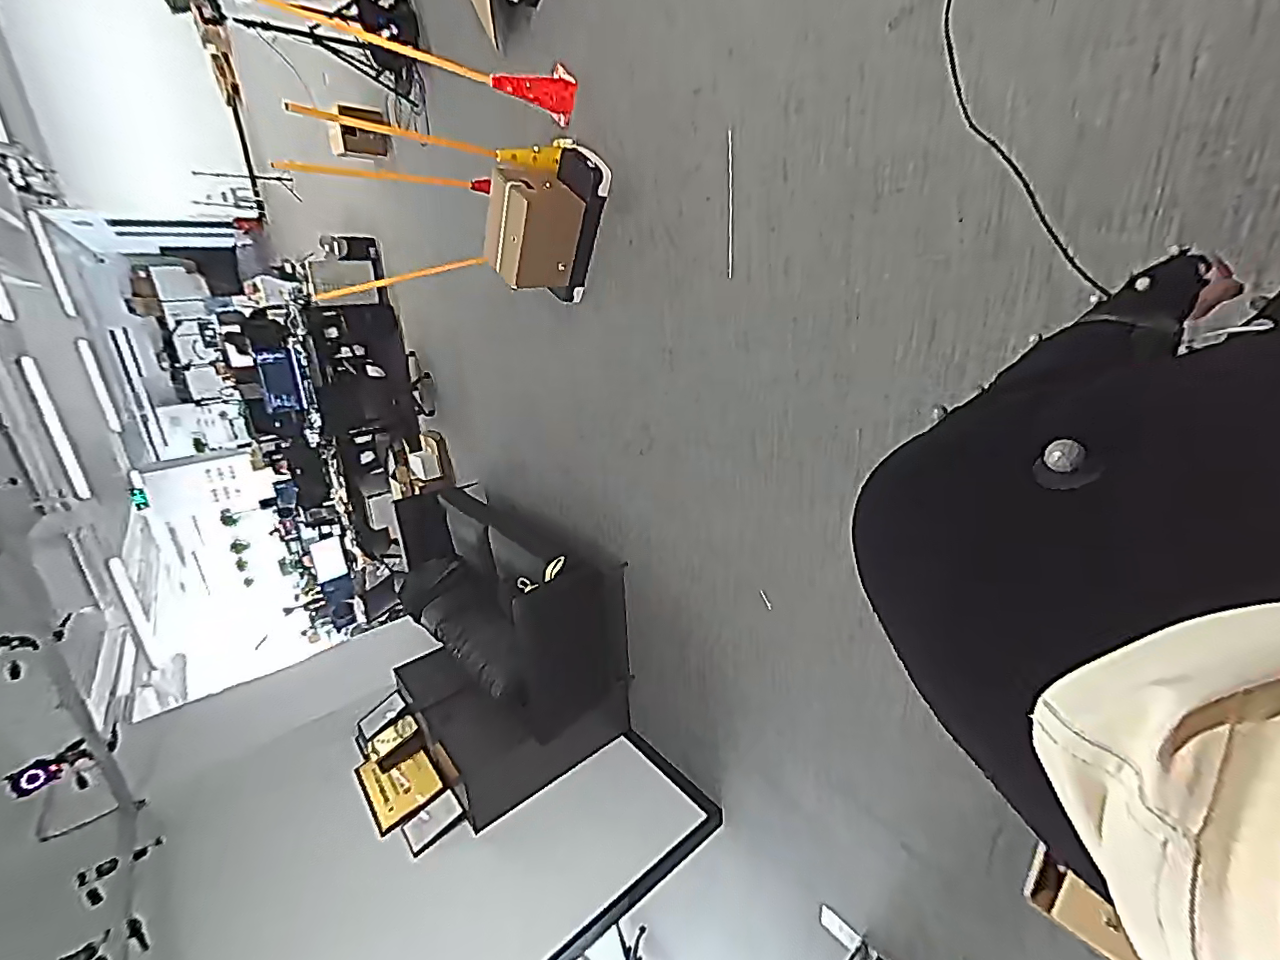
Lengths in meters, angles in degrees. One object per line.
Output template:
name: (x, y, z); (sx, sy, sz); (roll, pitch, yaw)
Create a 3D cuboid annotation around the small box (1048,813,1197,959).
small box: (0.946, 0.813, 1.061); (0.168, 0.176, 0.179); (24, 121, 47)
